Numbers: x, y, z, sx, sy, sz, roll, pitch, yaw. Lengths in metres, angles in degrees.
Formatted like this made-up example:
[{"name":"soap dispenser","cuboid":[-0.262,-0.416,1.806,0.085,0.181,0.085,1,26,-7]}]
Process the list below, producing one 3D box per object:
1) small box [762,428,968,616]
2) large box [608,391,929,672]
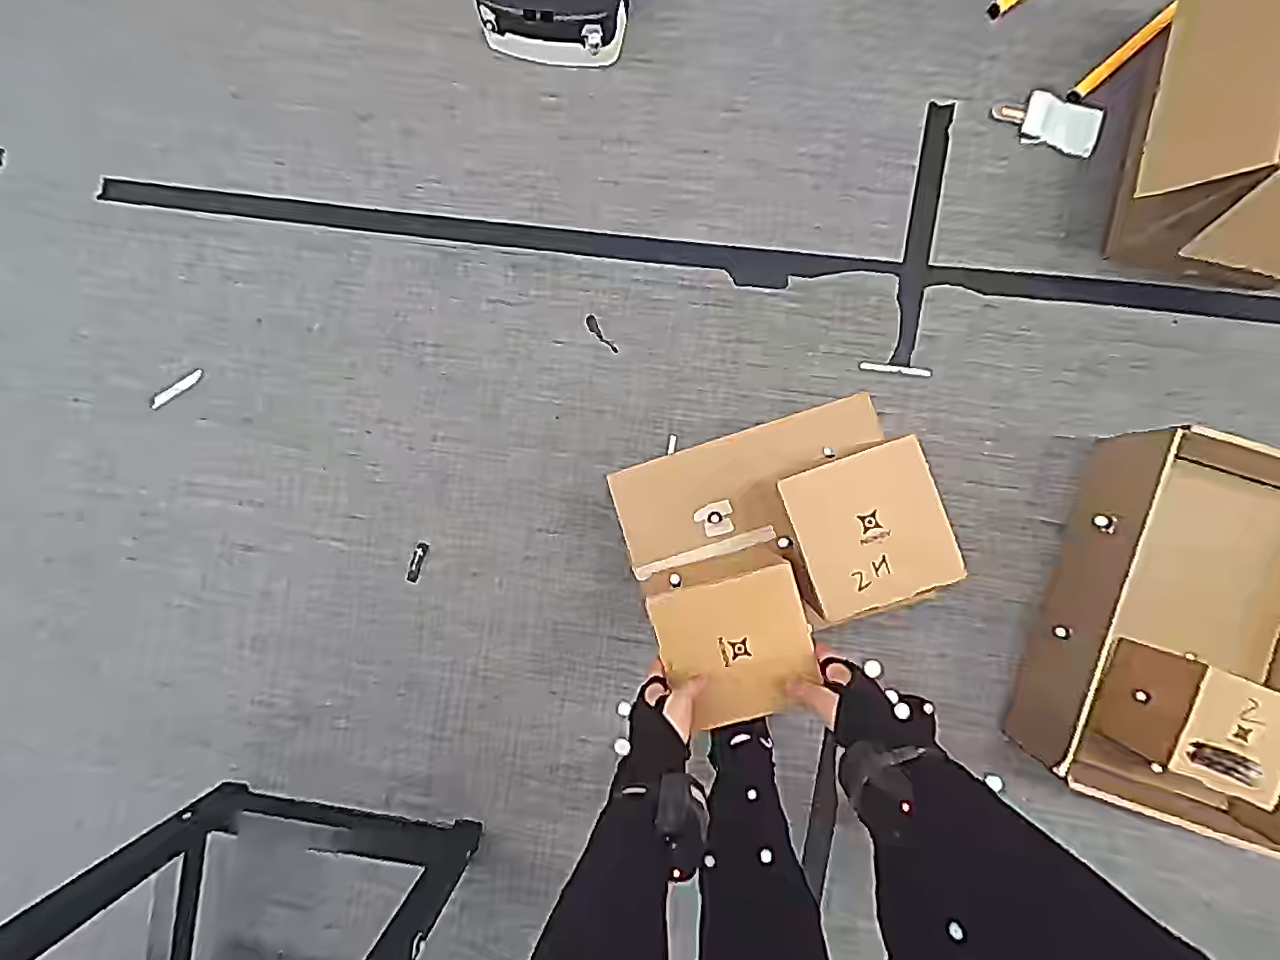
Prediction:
[{"name":"small box","cuboid":[0.267,0.049,0.687,0.168,0.176,0.179,-19,89,4]},{"name":"large box","cuboid":[0.198,0.077,0.940,0.408,0.320,0.320,-19,87,5]}]
